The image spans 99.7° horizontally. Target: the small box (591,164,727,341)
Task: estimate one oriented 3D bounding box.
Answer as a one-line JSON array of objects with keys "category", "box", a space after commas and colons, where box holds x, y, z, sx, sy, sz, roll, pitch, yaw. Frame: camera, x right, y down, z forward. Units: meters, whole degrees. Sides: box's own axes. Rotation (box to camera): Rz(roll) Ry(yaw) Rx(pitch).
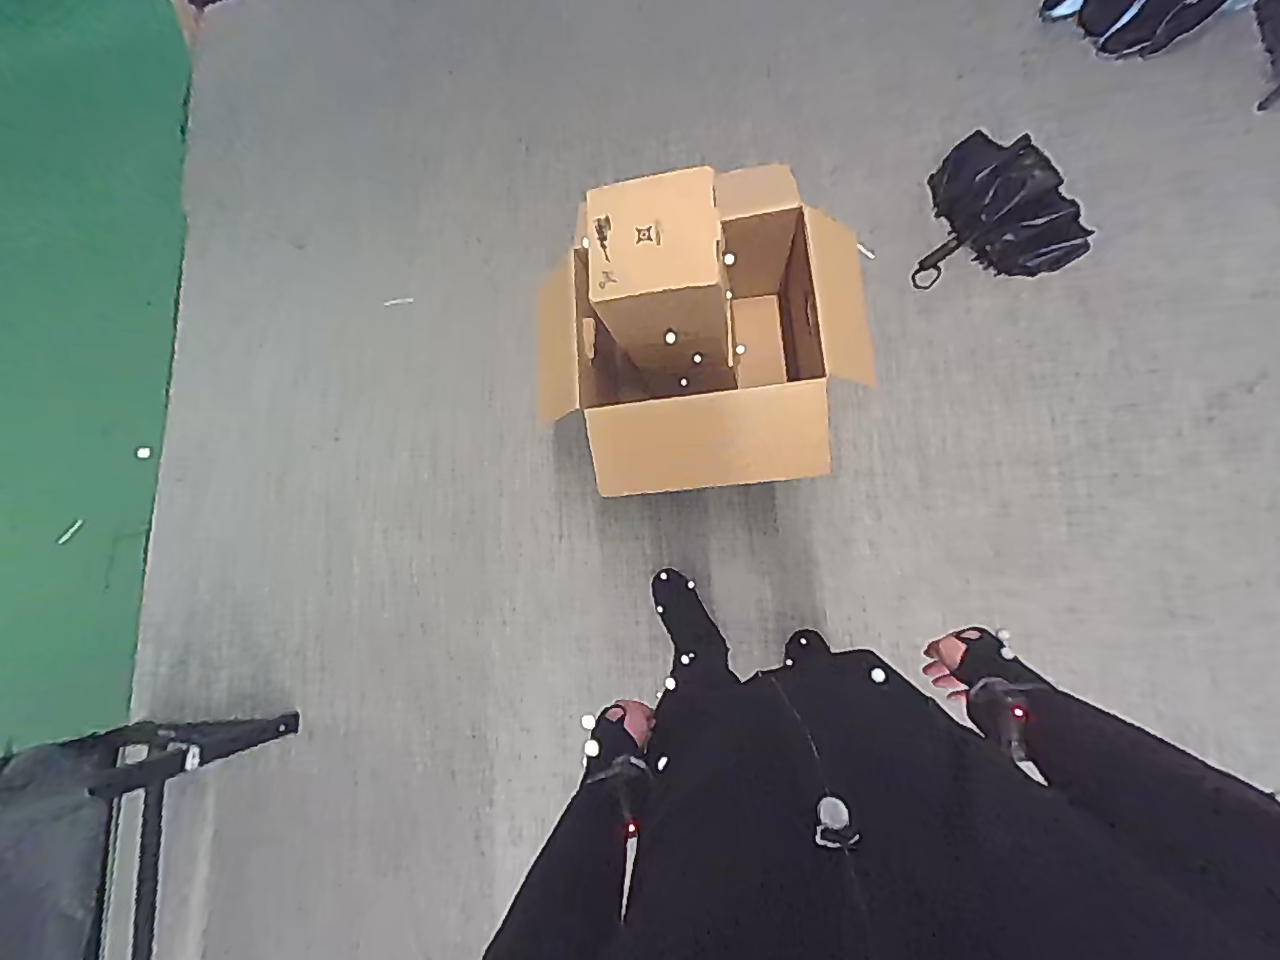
[{"category": "small box", "box": [0.036, -0.316, 0.784, 0.179, 0.176, 0.168, -3, 82, 12]}]
